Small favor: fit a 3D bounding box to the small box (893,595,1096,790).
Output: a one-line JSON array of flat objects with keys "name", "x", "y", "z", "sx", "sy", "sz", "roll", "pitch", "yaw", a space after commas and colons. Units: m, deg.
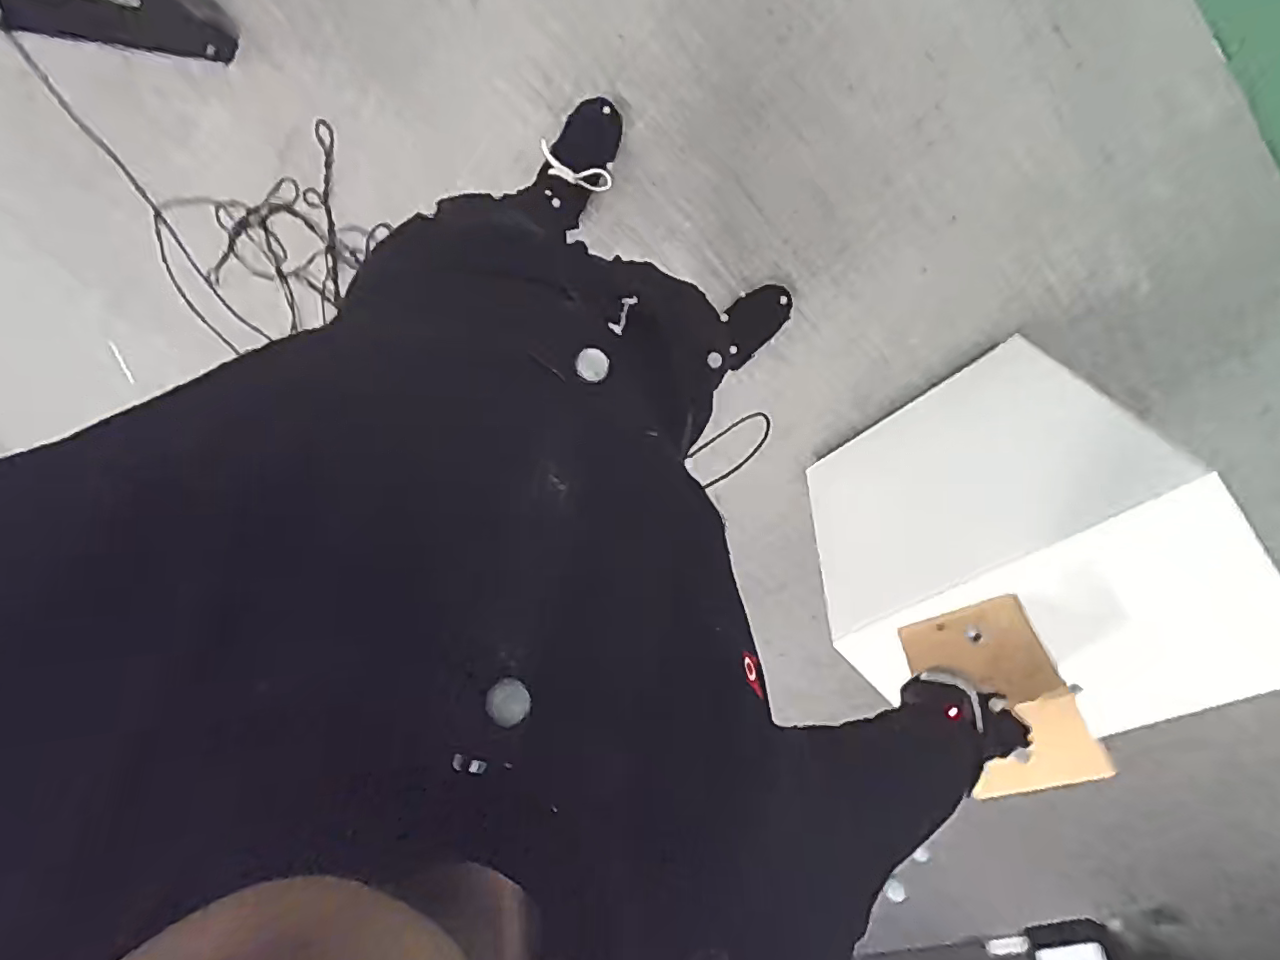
[{"name": "small box", "x": 0.483, "y": 0.296, "z": 0.760, "sx": 0.168, "sy": 0.176, "sz": 0.179, "roll": -29, "pitch": 112, "yaw": 26}]
